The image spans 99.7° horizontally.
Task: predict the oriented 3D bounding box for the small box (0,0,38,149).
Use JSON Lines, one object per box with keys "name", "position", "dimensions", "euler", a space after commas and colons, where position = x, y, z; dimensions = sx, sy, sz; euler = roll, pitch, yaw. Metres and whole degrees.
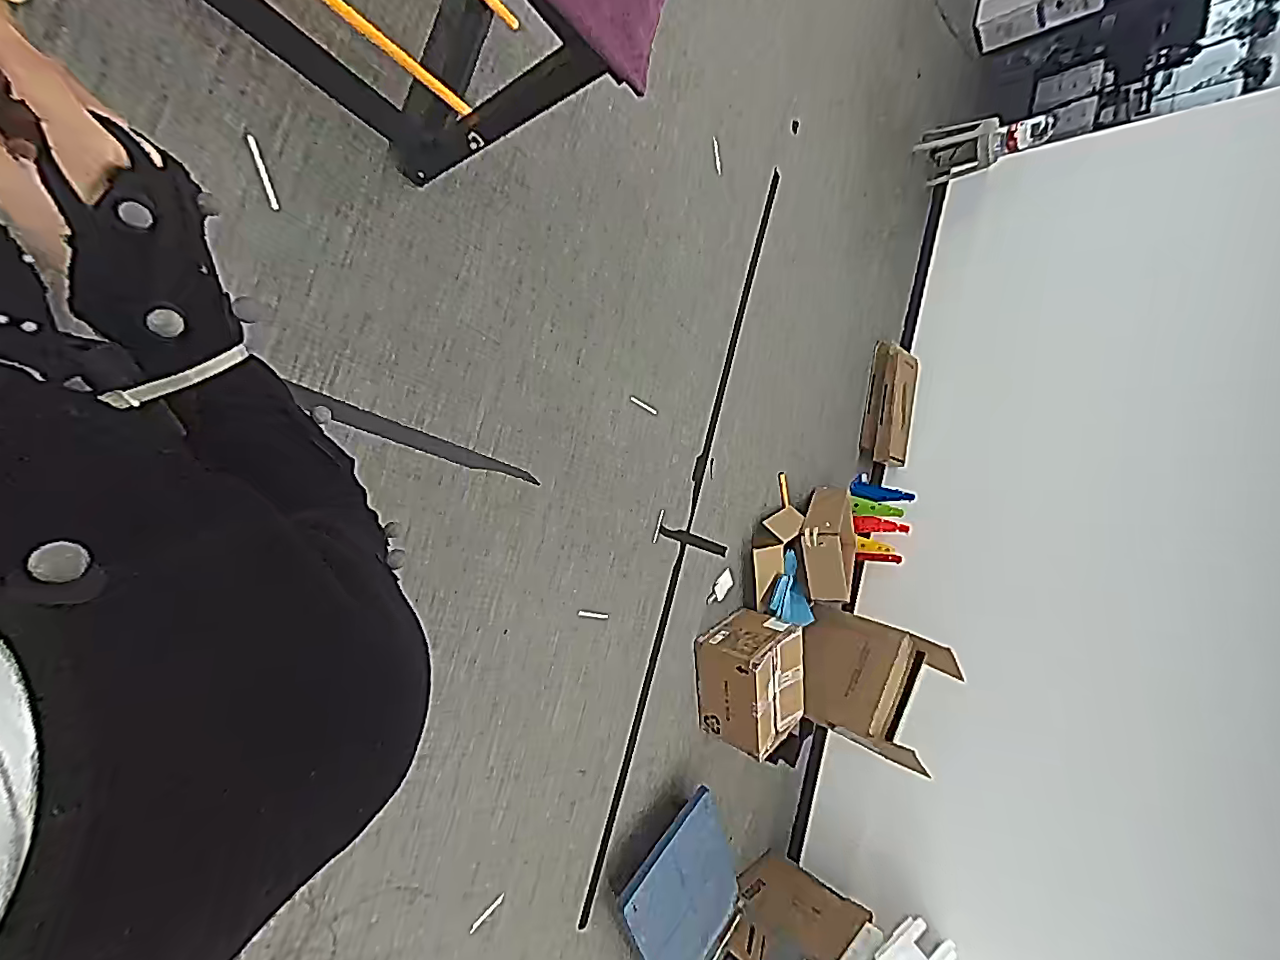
{"name": "small box", "position": [-0.405, -0.266, 0.232], "dimensions": [0.179, 0.176, 0.168], "euler": [-12, 107, -41]}
